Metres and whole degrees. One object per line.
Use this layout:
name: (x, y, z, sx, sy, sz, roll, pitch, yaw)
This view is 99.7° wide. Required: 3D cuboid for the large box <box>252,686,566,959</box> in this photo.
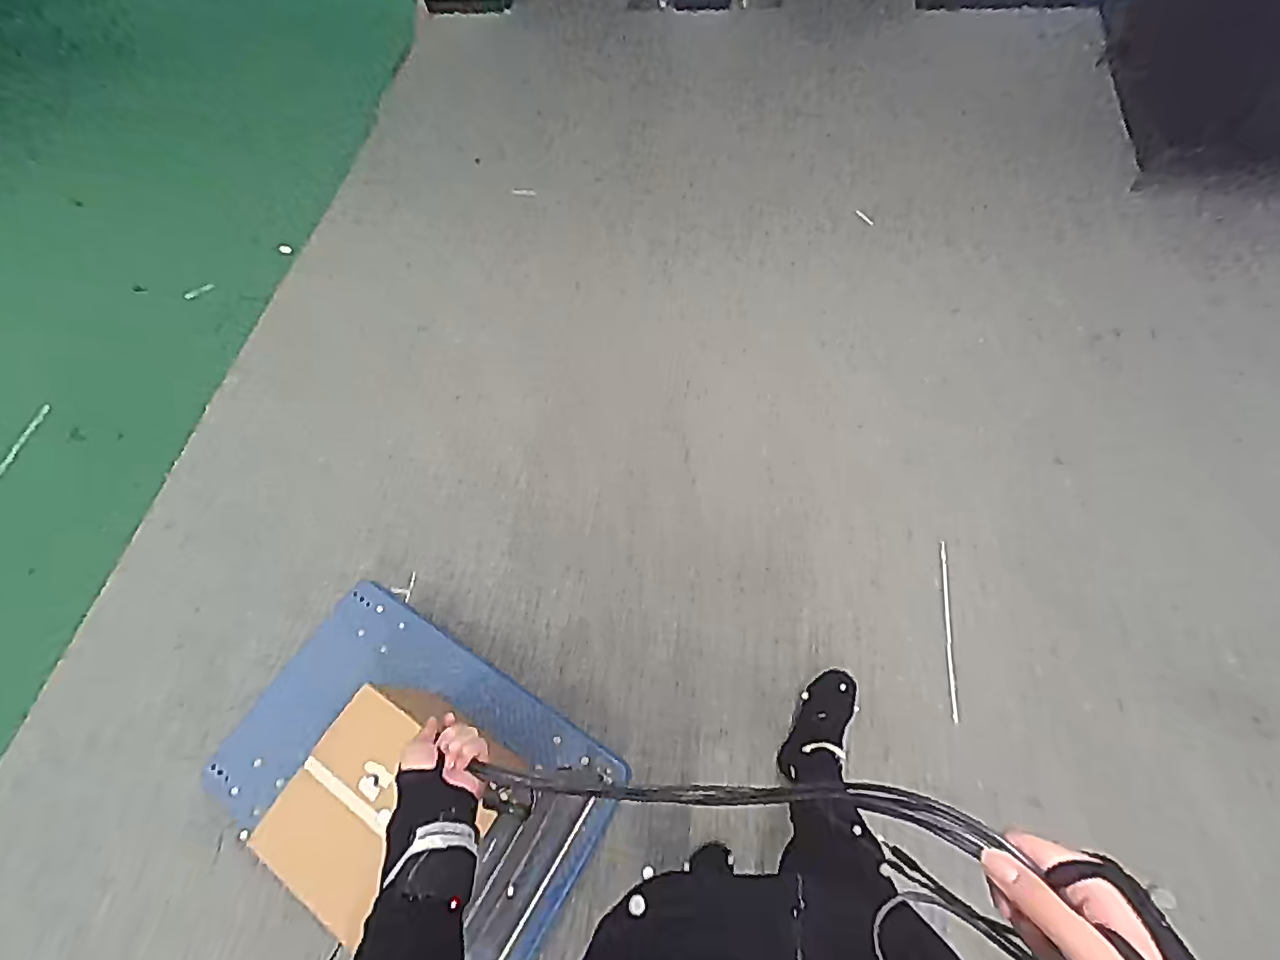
large box: (-0.417, 0.661, 1.066, 0.408, 0.320, 0.320, 27, 70, 18)
